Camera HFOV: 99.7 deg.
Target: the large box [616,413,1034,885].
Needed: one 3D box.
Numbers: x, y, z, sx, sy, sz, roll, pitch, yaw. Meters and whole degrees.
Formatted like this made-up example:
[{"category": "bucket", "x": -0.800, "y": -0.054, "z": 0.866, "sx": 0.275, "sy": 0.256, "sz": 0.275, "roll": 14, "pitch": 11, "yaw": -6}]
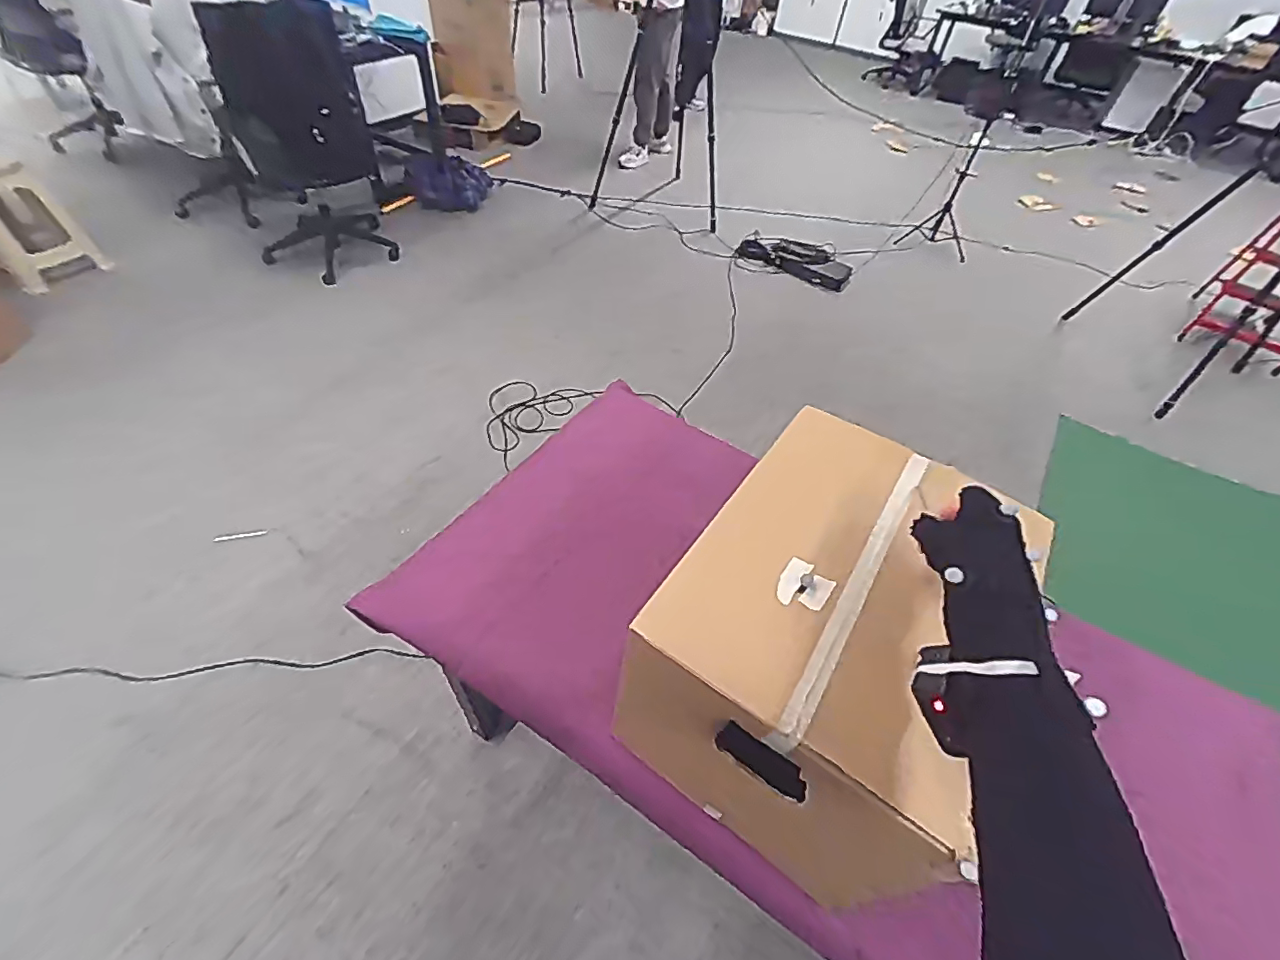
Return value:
[{"category": "large box", "x": 0.213, "y": 0.194, "z": 0.679, "sx": 0.320, "sy": 0.320, "sz": 0.408, "roll": 31, "pitch": 53, "yaw": 19}]
